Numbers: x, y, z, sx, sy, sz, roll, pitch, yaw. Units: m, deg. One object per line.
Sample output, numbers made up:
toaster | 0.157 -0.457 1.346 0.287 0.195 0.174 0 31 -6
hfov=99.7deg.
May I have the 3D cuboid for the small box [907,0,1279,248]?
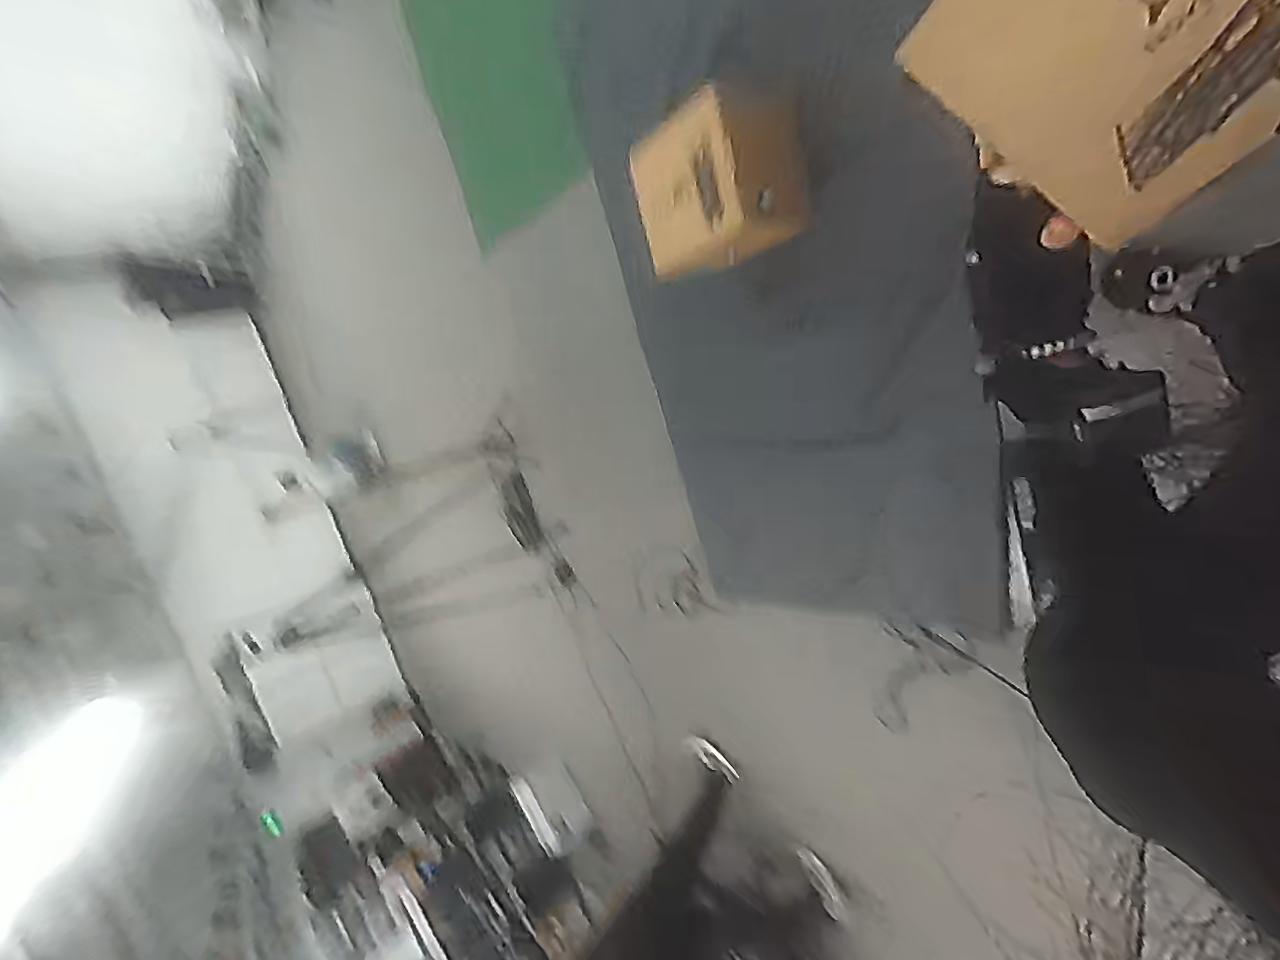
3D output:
small box | 0.289 -0.277 0.301 0.179 0.176 0.168 39 141 -5
